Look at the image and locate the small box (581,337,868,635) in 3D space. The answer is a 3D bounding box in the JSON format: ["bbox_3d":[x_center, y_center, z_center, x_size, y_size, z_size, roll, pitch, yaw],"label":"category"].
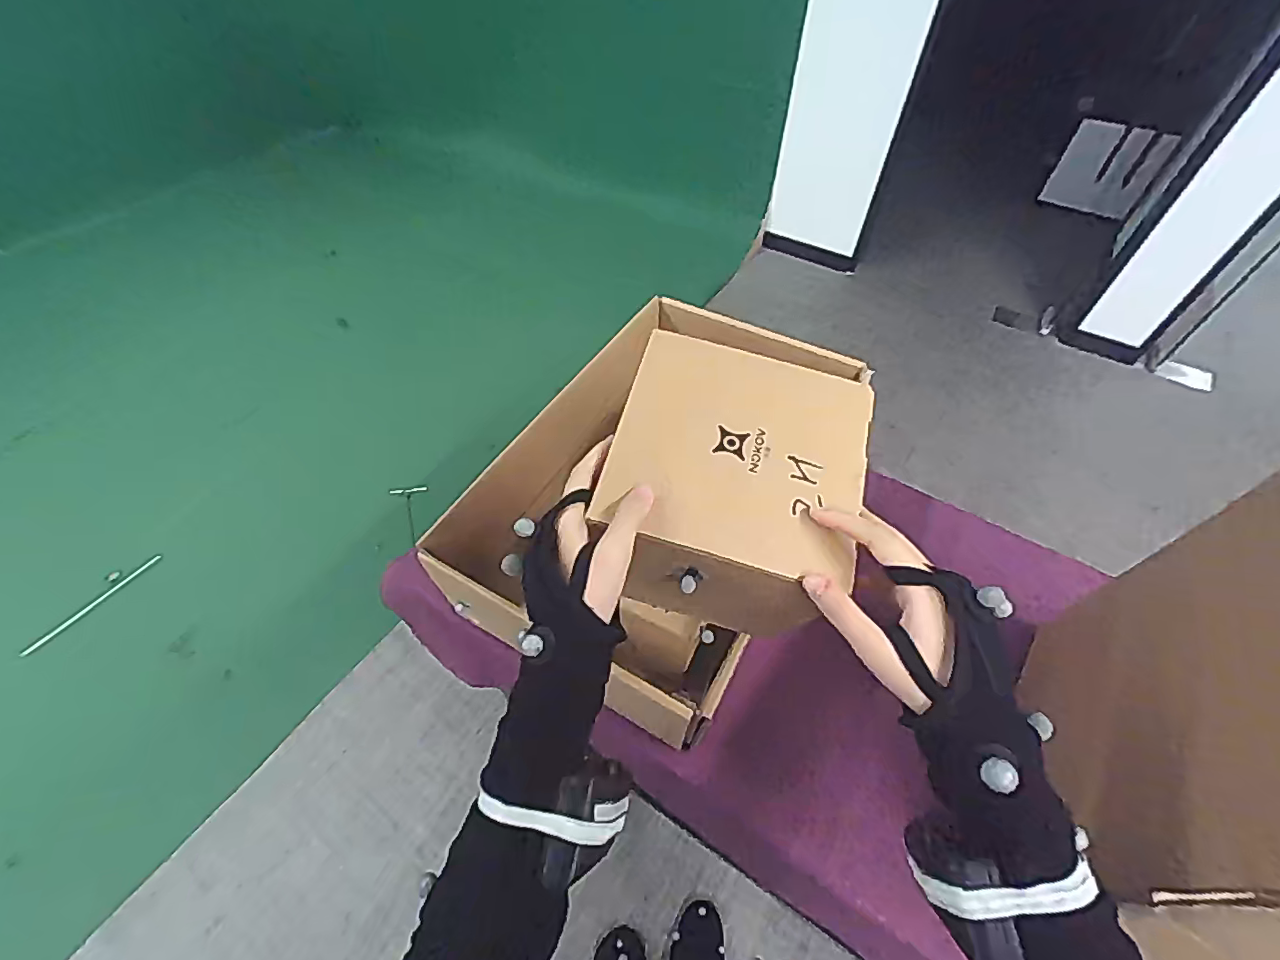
[{"bbox_3d":[0.061,0.016,0.448,0.179,0.176,0.168,17,65,3],"label":"small box"}]
